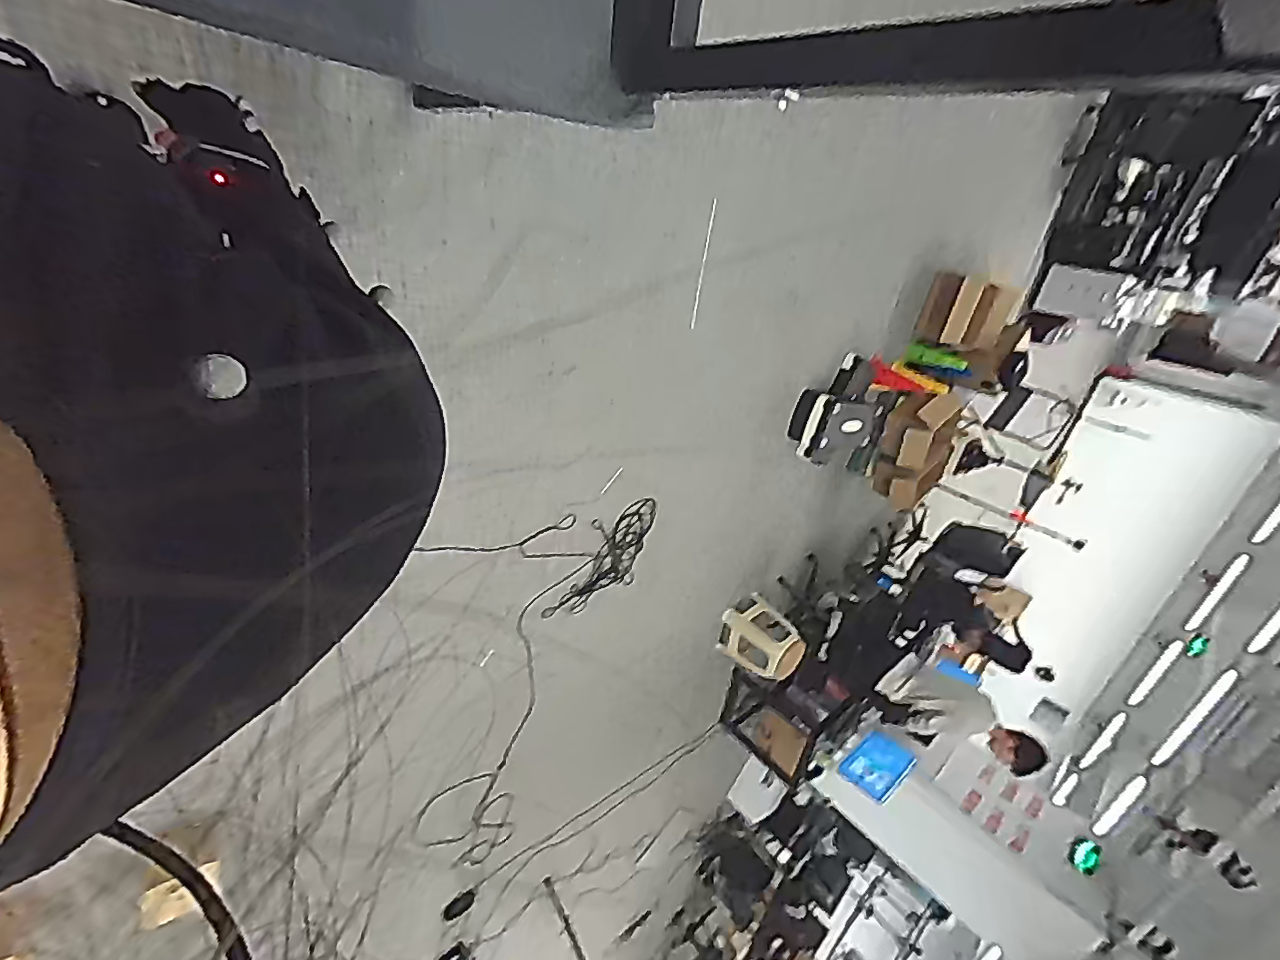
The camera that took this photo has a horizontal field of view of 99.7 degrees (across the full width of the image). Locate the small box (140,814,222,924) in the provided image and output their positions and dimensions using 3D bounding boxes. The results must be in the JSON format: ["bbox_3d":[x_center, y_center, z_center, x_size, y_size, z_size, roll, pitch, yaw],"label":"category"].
[{"bbox_3d":[-1.344,1.123,1.584,0.168,0.176,0.179,-6,120,-43],"label":"small box"}]
